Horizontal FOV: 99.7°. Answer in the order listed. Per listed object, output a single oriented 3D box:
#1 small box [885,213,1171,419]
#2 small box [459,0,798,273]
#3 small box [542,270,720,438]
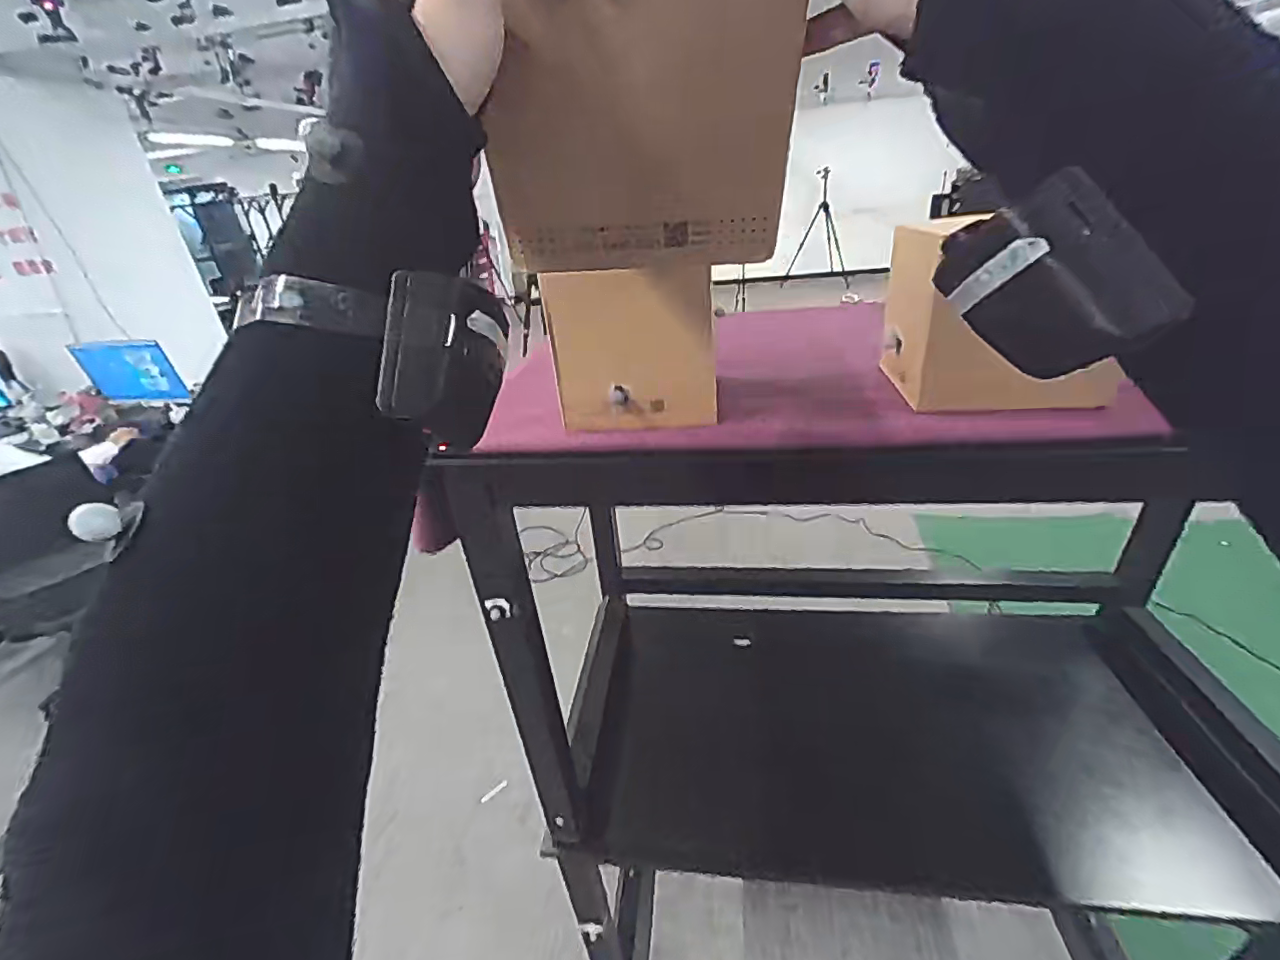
[{"bbox_3d":[0.369,-0.170,0.559,0.179,0.176,0.168,-1,27,12],"label":"small box"},{"bbox_3d":[-0.003,-0.249,0.343,0.168,0.176,0.179,-1,47,4],"label":"small box"},{"bbox_3d":[0.003,-0.156,0.610,0.168,0.176,0.179,-2,28,9],"label":"small box"}]
